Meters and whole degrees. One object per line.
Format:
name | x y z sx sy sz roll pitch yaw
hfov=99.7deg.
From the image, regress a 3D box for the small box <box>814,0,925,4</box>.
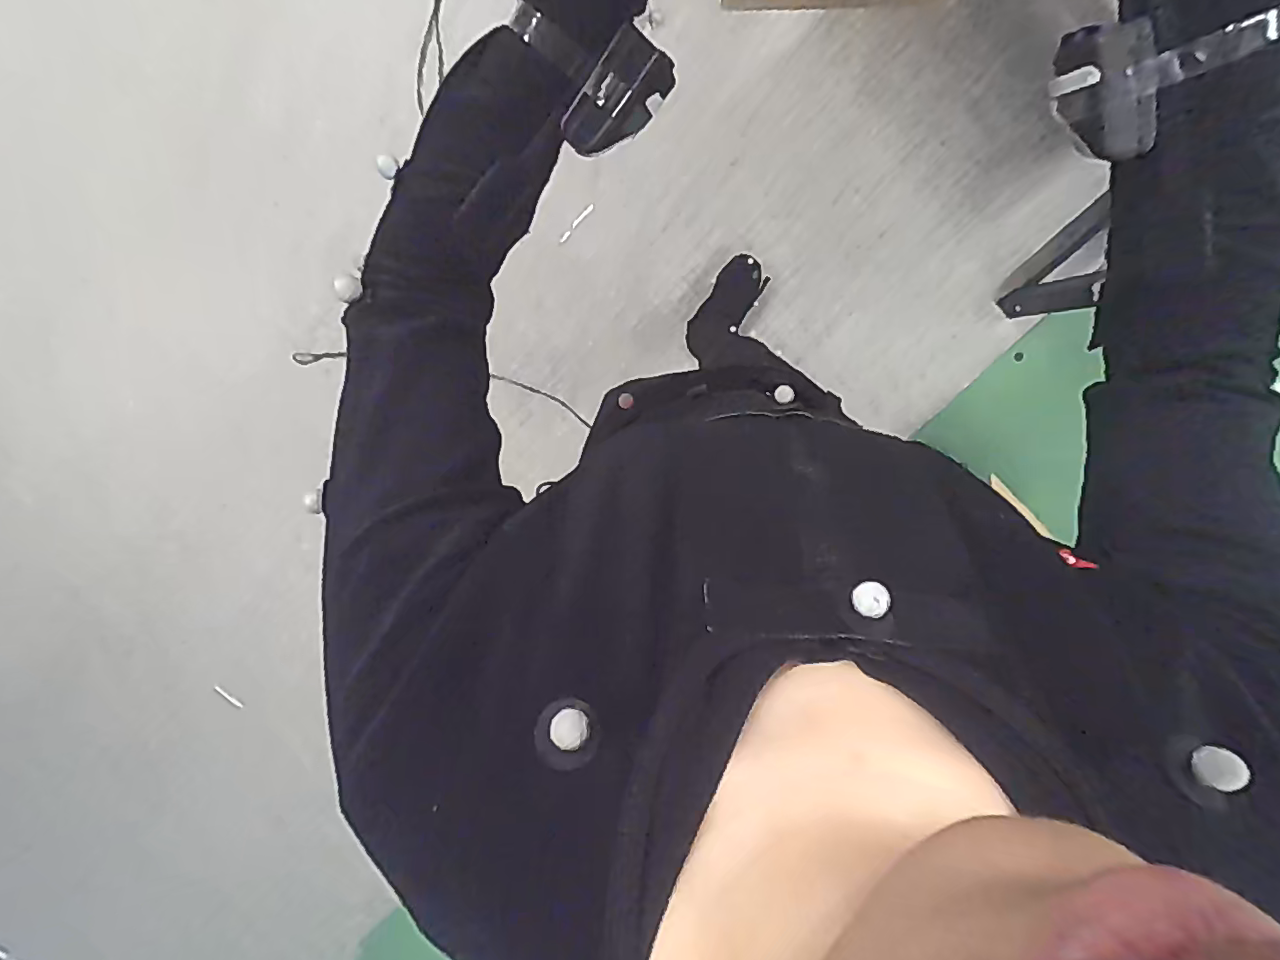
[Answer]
small box | 0.138 -0.417 0.296 0.168 0.176 0.179 3 101 4
